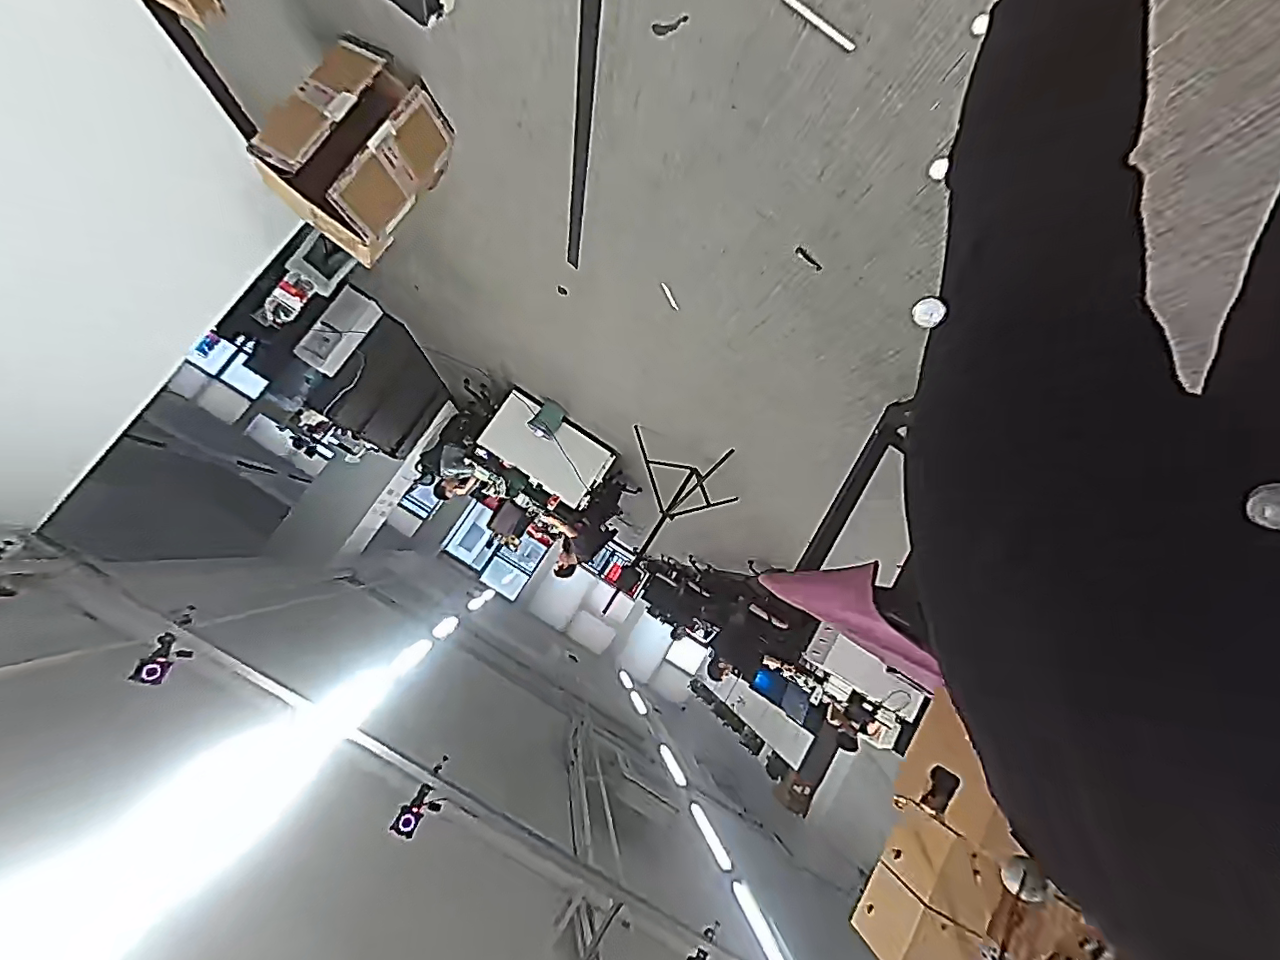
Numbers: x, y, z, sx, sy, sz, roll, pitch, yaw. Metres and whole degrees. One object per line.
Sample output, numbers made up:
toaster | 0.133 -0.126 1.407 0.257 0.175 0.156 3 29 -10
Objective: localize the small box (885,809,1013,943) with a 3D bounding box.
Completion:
small box | 0.734 0.924 1.286 0.168 0.176 0.179 32 170 -5

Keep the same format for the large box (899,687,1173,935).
large box | 0.957 0.781 1.340 0.408 0.320 0.320 32 172 -5
